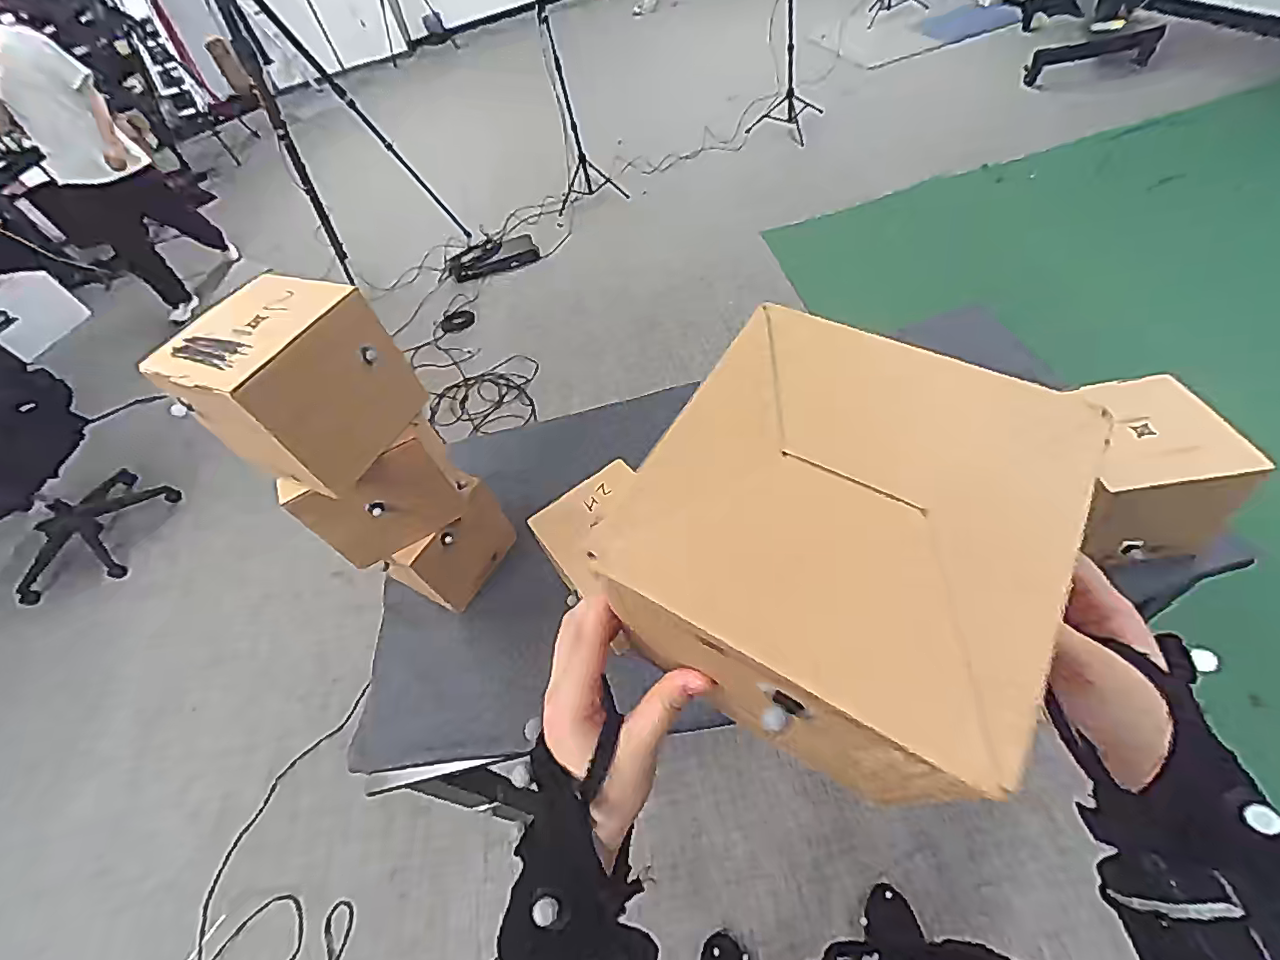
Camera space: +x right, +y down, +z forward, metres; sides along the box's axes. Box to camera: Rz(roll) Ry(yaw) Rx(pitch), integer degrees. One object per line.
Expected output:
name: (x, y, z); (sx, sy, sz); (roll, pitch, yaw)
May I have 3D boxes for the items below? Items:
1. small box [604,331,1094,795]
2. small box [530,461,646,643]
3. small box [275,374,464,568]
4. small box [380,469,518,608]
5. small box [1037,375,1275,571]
small box: (0.099, 0.043, 0.295); (0.168, 0.176, 0.179); (26, 65, 19)
small box: (-0.028, 0.113, 0.790); (0.168, 0.176, 0.179); (-34, 51, -14)
small box: (-0.371, -0.010, 0.765); (0.179, 0.176, 0.168); (-30, 52, -9)
small box: (-0.338, 0.087, 0.895); (0.179, 0.176, 0.168); (18, 59, 26)
small box: (0.619, -0.006, 0.706); (0.168, 0.176, 0.179); (-10, 47, 9)
